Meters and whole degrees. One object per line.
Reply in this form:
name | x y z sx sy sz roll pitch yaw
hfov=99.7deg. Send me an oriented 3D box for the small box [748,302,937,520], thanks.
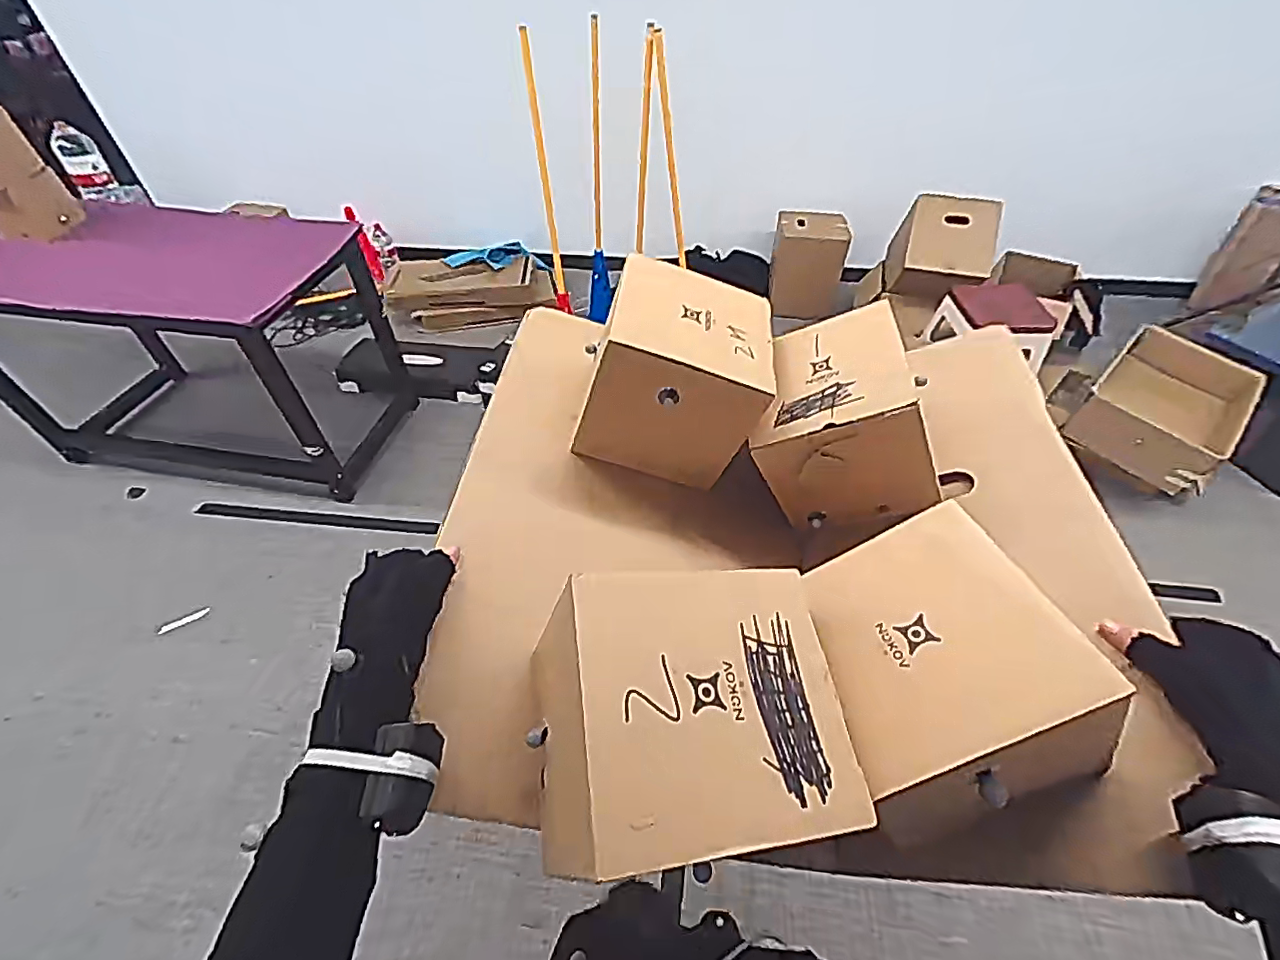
small box | 0.237 -0.069 0.642 0.168 0.176 0.179 -15 44 27
